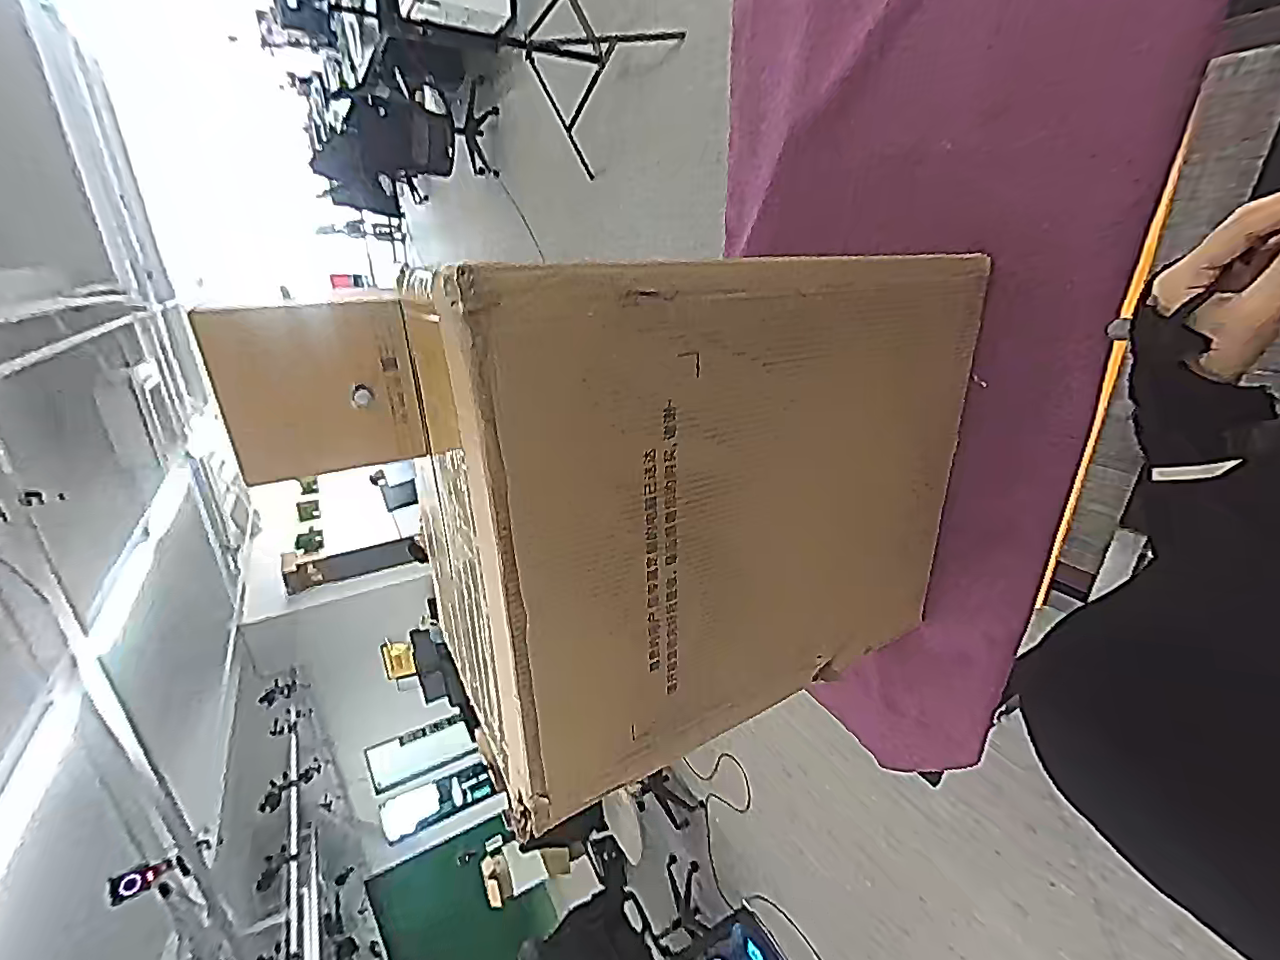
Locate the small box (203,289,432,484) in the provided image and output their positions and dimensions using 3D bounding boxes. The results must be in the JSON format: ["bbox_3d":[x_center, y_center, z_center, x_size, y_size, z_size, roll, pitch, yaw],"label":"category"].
[{"bbox_3d":[-0.335,-0.114,0.587,0.179,0.176,0.168,34,132,52],"label":"small box"}]
